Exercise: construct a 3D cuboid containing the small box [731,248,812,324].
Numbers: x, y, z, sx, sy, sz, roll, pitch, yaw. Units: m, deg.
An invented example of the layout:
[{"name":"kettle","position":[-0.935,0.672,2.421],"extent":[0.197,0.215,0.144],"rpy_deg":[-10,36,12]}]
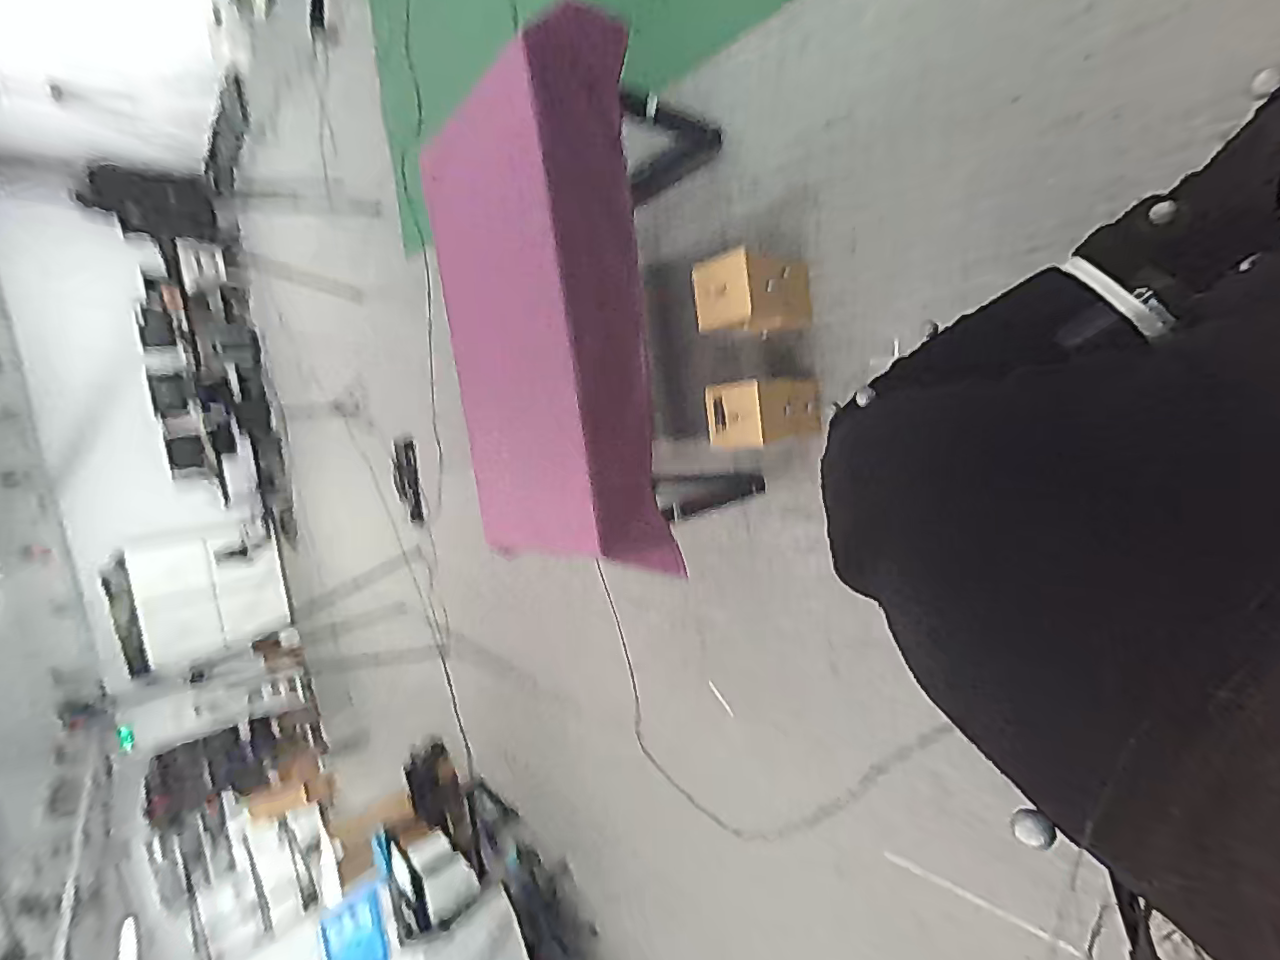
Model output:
[{"name":"small box","position":[0.390,-0.564,1.589],"extent":[0.168,0.176,0.179],"rpy_deg":[1,101,47]}]
